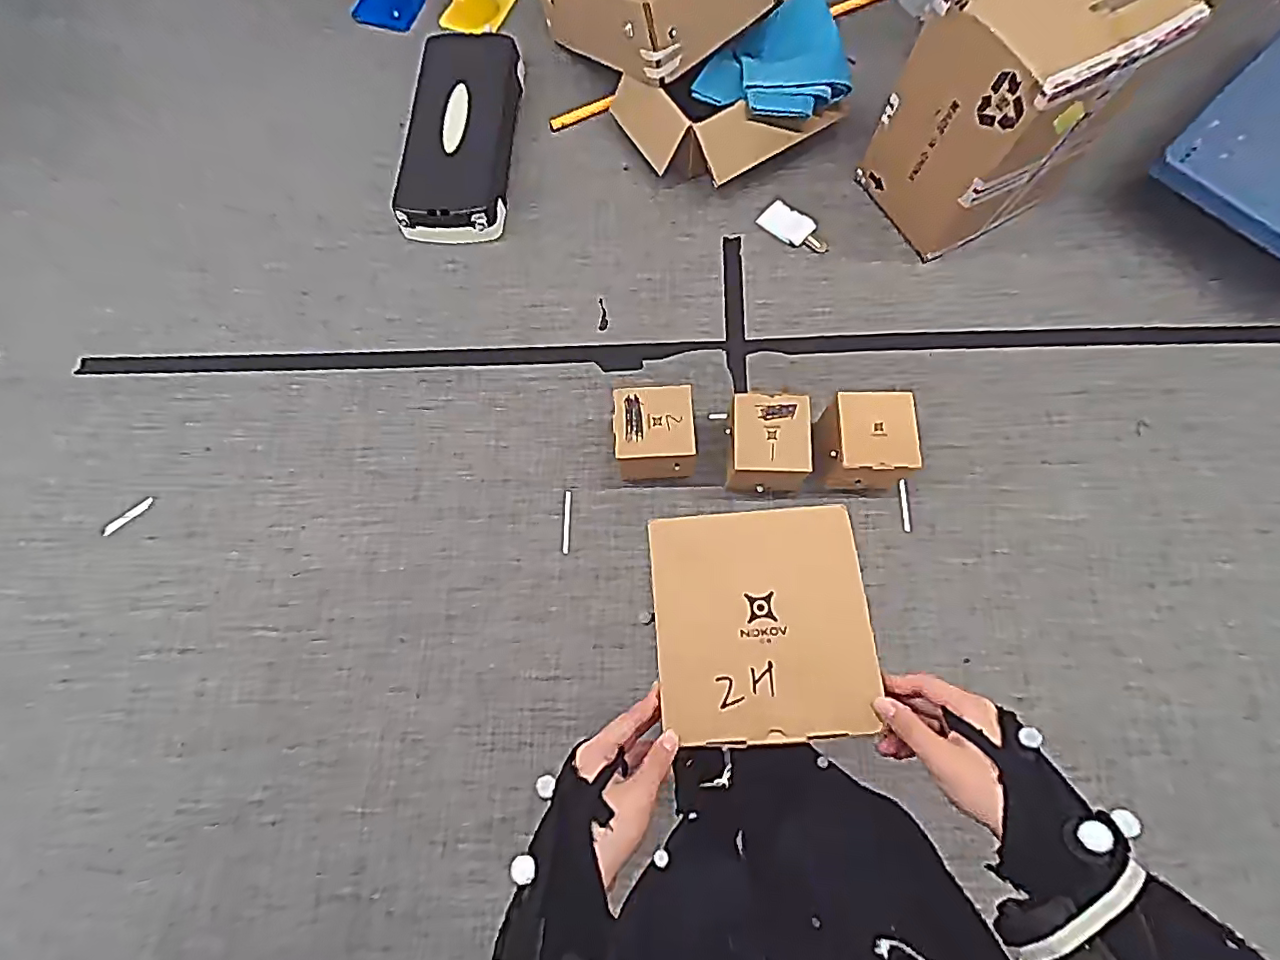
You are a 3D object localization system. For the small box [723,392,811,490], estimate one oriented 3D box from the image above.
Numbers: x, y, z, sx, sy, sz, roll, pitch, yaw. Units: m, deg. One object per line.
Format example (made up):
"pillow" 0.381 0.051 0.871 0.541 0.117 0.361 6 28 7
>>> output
"small box" 0.283 -0.085 1.235 0.168 0.176 0.179 2 75 2

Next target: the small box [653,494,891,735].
"small box" 0.099 0.125 0.490 0.168 0.176 0.179 -5 71 3

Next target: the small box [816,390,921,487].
"small box" 0.509 -0.091 1.234 0.168 0.176 0.179 0 75 1
